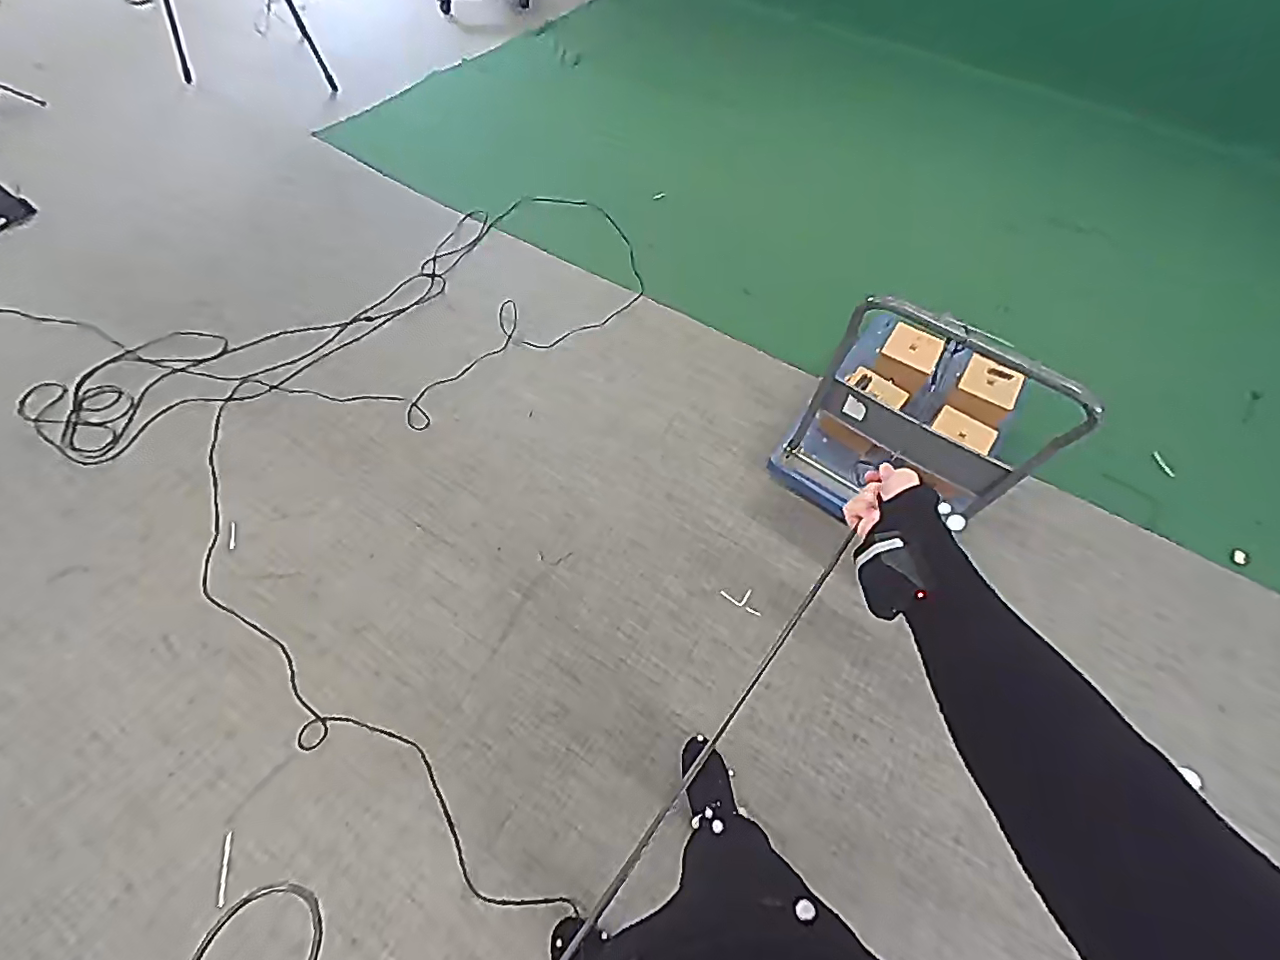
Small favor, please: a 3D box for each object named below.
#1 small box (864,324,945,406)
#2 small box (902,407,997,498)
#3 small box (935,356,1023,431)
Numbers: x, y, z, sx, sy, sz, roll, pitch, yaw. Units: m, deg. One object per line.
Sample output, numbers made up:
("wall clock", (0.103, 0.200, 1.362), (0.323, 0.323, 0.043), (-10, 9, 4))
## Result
("small box", (0.879, -0.381, 1.816), (0.168, 0.176, 0.179), (31, 62, 15))
("small box", (0.926, -0.079, 1.633), (0.168, 0.176, 0.179), (35, 64, 18))
("small box", (1.090, -0.260, 1.749), (0.168, 0.176, 0.179), (30, 63, 16))
